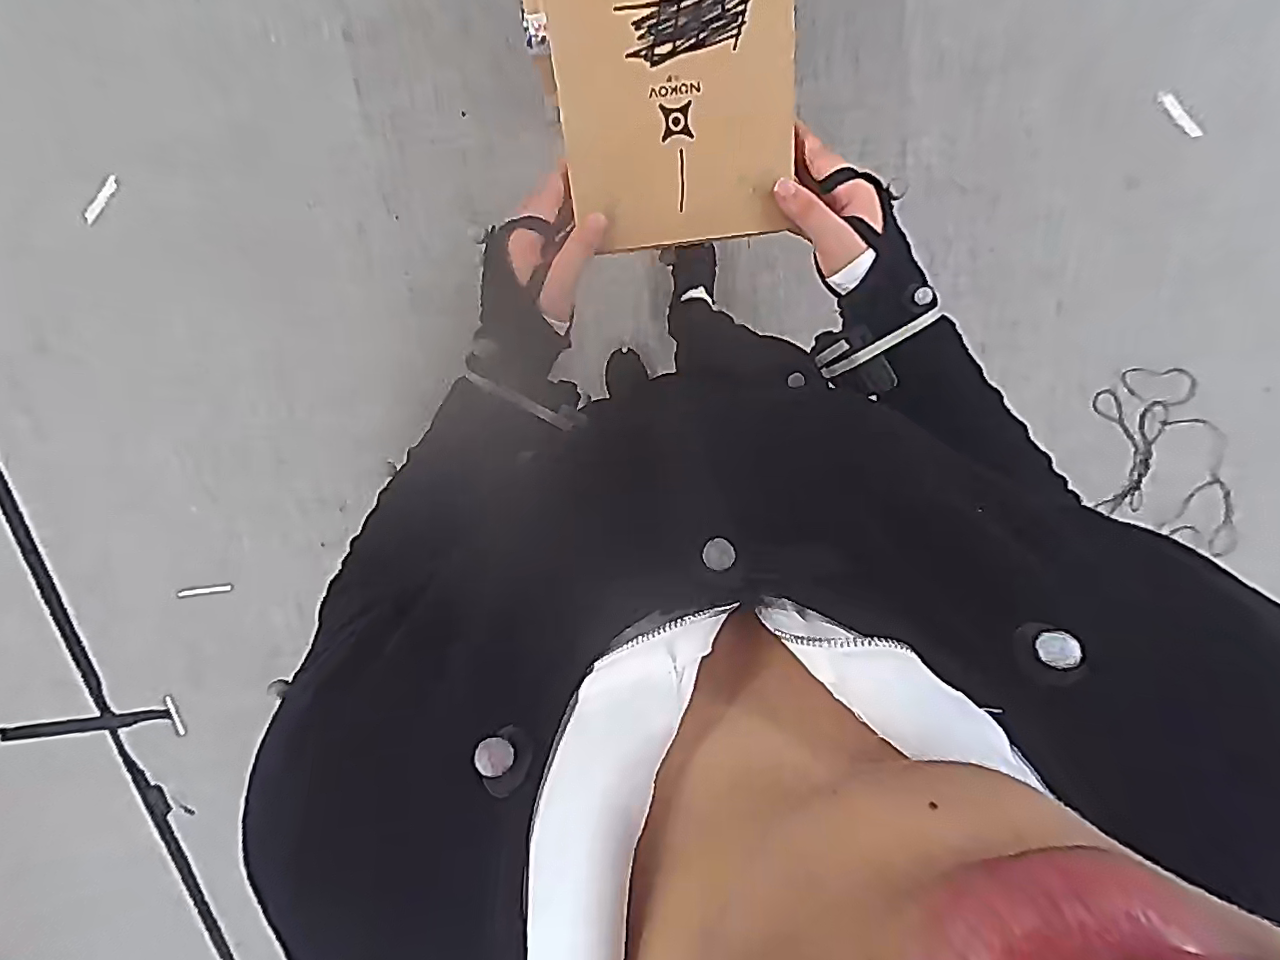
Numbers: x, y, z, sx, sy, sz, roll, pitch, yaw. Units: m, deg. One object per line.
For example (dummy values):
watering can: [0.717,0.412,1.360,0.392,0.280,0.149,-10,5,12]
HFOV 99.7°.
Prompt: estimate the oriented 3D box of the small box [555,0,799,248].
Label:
small box: [0.026,-0.298,0.451,0.168,0.176,0.179,-6,112,0]
